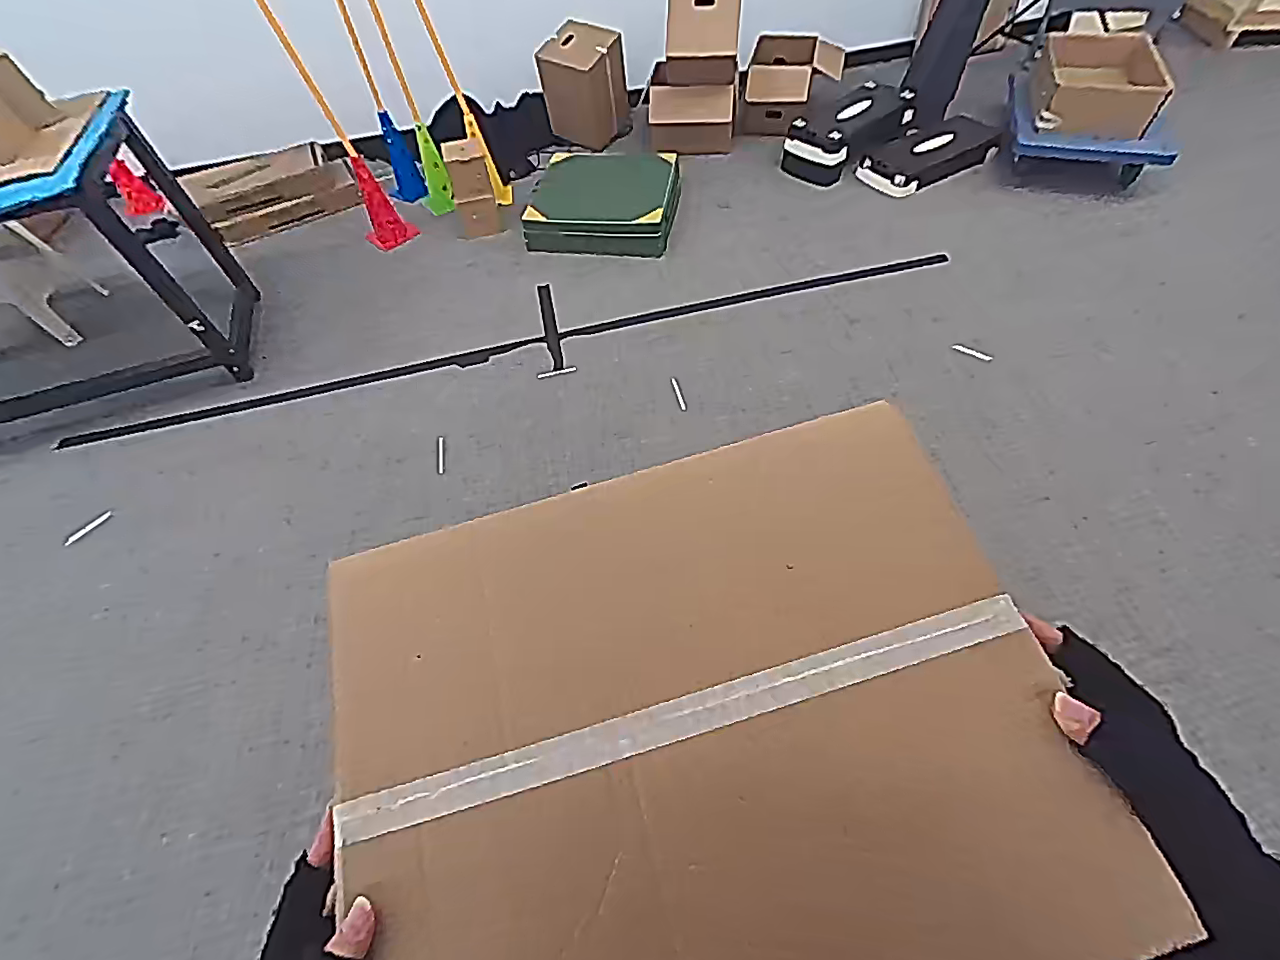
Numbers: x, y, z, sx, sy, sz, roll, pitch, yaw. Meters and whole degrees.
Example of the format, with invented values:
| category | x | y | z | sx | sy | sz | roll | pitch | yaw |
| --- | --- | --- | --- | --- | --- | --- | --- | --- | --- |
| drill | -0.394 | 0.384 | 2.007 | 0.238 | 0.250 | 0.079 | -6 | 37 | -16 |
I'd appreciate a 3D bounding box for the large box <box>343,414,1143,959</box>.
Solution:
| category | x | y | z | sx | sy | sz | roll | pitch | yaw |
| --- | --- | --- | --- | --- | --- | --- | --- | --- | --- |
| large box | 0.038 | 0.199 | 0.457 | 0.408 | 0.320 | 0.320 | -17 | 64 | -2 |
